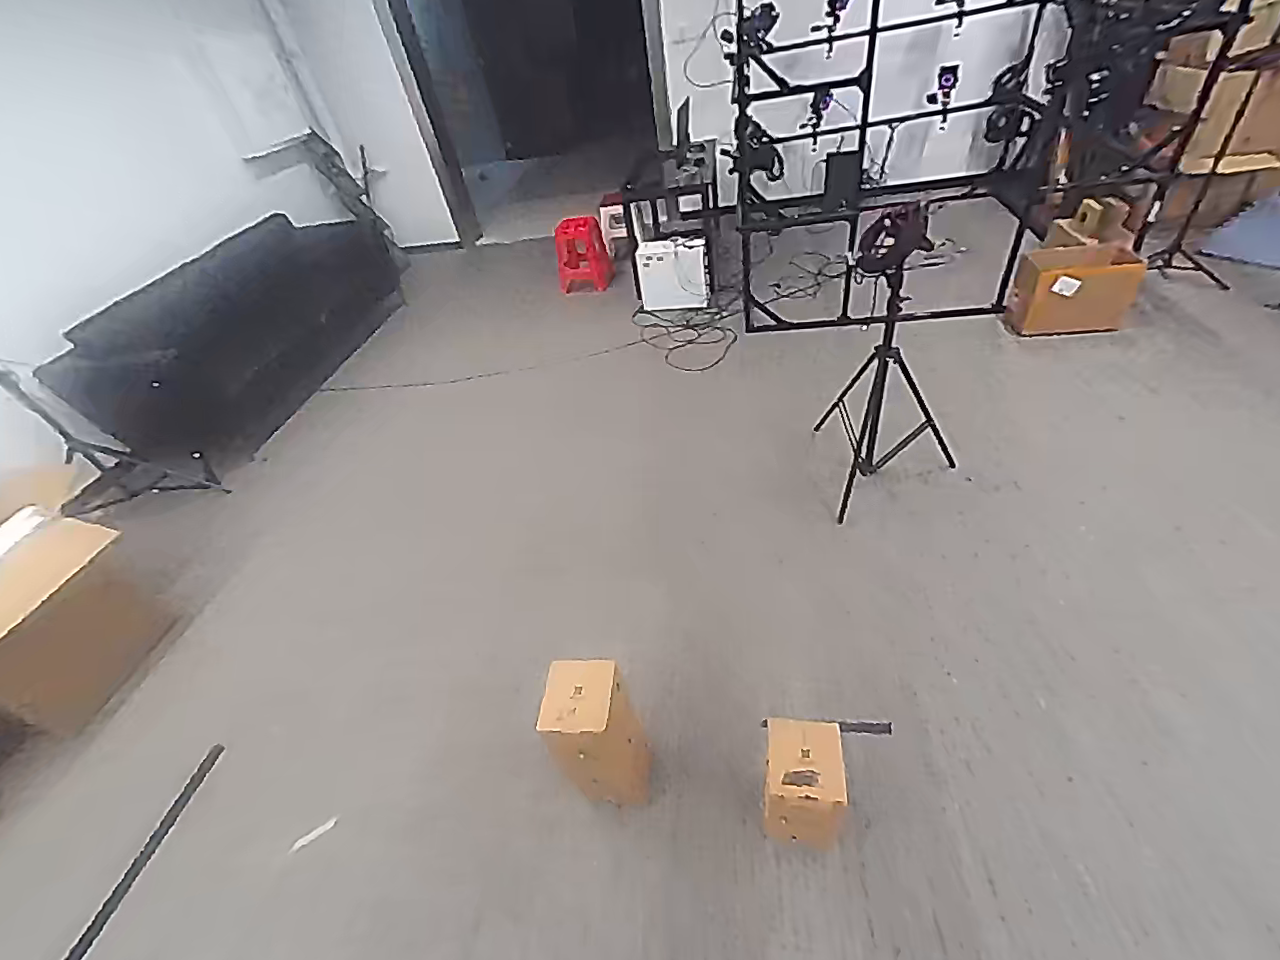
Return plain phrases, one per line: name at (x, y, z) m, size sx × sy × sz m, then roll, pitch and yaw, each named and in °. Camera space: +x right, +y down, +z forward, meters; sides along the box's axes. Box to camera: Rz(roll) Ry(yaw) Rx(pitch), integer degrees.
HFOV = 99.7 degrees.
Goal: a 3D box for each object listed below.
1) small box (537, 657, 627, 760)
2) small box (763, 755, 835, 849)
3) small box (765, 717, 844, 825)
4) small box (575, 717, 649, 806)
small box at (-0.131, 0.551, 1.309) m, size 0.168 × 0.176 × 0.179 m, roll -4°, pitch 42°, yaw 12°
small box at (0.402, 0.812, 1.387) m, size 0.168 × 0.176 × 0.179 m, roll 0°, pitch 43°, yaw 13°
small box at (0.384, 0.689, 1.279) m, size 0.168 × 0.176 × 0.179 m, roll 0°, pitch 42°, yaw 13°
small box at (-0.072, 0.791, 1.525) m, size 0.168 × 0.176 × 0.179 m, roll -4°, pitch 41°, yaw 11°
